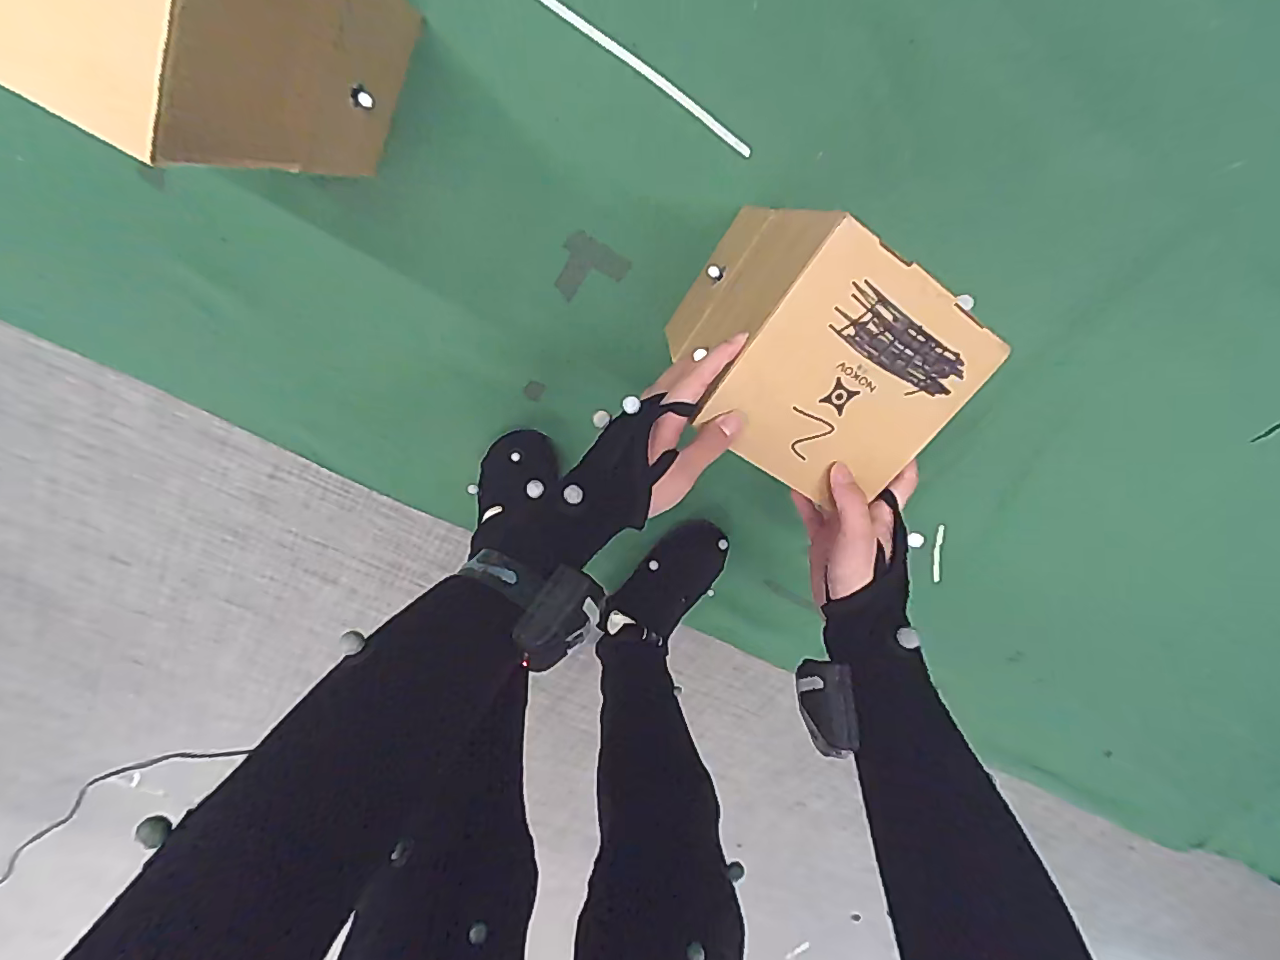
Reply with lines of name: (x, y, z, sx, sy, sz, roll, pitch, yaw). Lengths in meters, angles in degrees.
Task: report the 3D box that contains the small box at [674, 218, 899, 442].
small box: (0.149, -0.182, 0.629, 0.168, 0.176, 0.179, 29, 114, -14)
